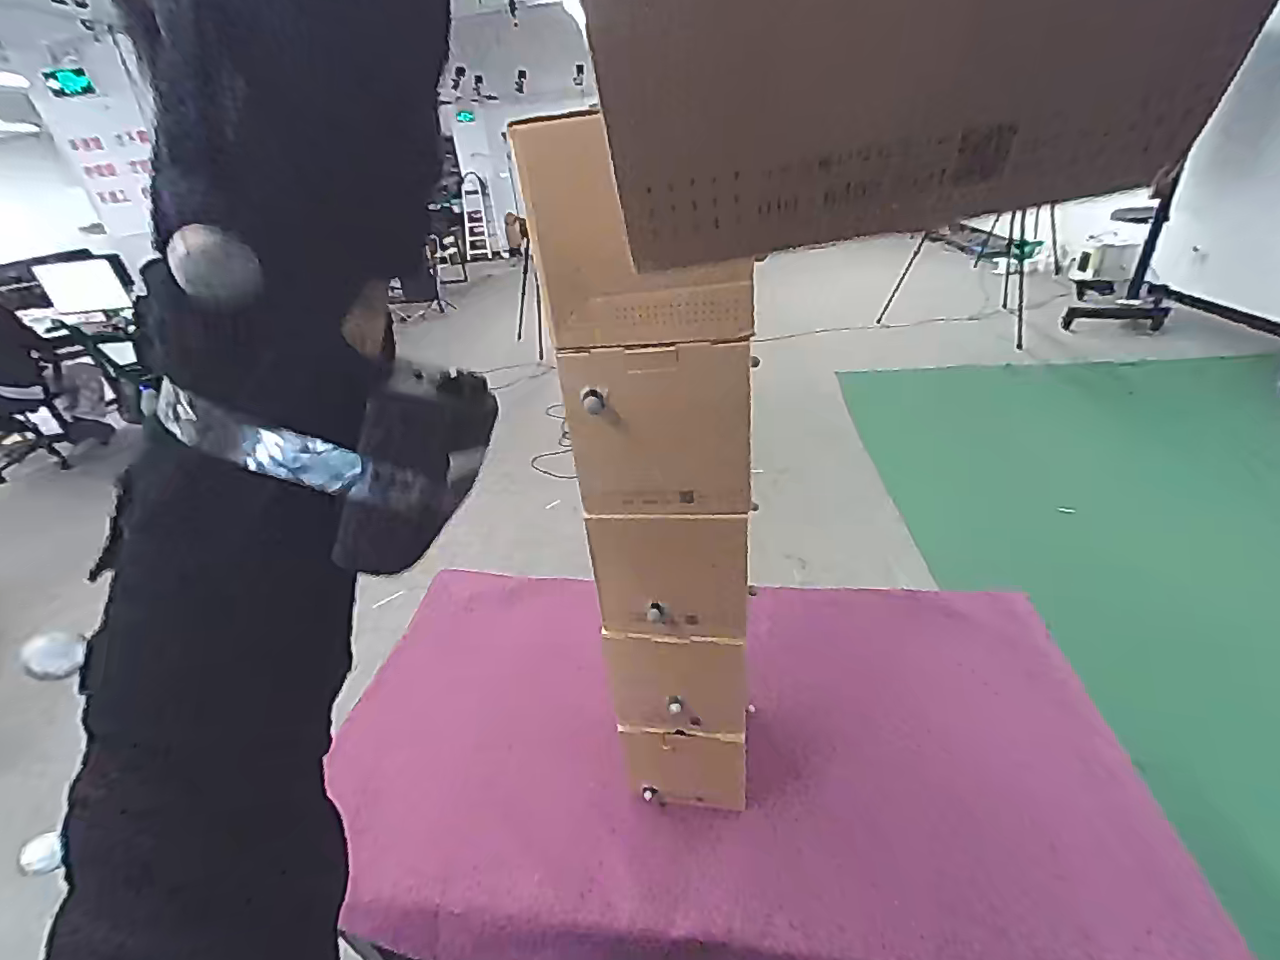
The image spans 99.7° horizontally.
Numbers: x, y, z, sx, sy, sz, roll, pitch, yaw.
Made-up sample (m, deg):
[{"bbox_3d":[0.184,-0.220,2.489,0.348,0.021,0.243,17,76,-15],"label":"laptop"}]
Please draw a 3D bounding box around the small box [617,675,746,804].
[{"bbox_3d":[0.072,0.347,0.803,0.168,0.176,0.179,1,31,11],"label":"small box"}]

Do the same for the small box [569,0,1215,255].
[{"bbox_3d":[0.059,-0.198,0.172,0.168,0.176,0.179,-7,49,7],"label":"small box"}]

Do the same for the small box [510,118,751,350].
[{"bbox_3d":[0.009,-0.220,0.485,0.179,0.176,0.168,0,30,10],"label":"small box"}]

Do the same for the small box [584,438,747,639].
[{"bbox_3d":[0.042,0.062,0.645,0.168,0.176,0.179,0,31,11],"label":"small box"}]

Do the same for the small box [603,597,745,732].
[{"bbox_3d":[0.056,0.203,0.725,0.168,0.176,0.179,0,32,11],"label":"small box"}]
